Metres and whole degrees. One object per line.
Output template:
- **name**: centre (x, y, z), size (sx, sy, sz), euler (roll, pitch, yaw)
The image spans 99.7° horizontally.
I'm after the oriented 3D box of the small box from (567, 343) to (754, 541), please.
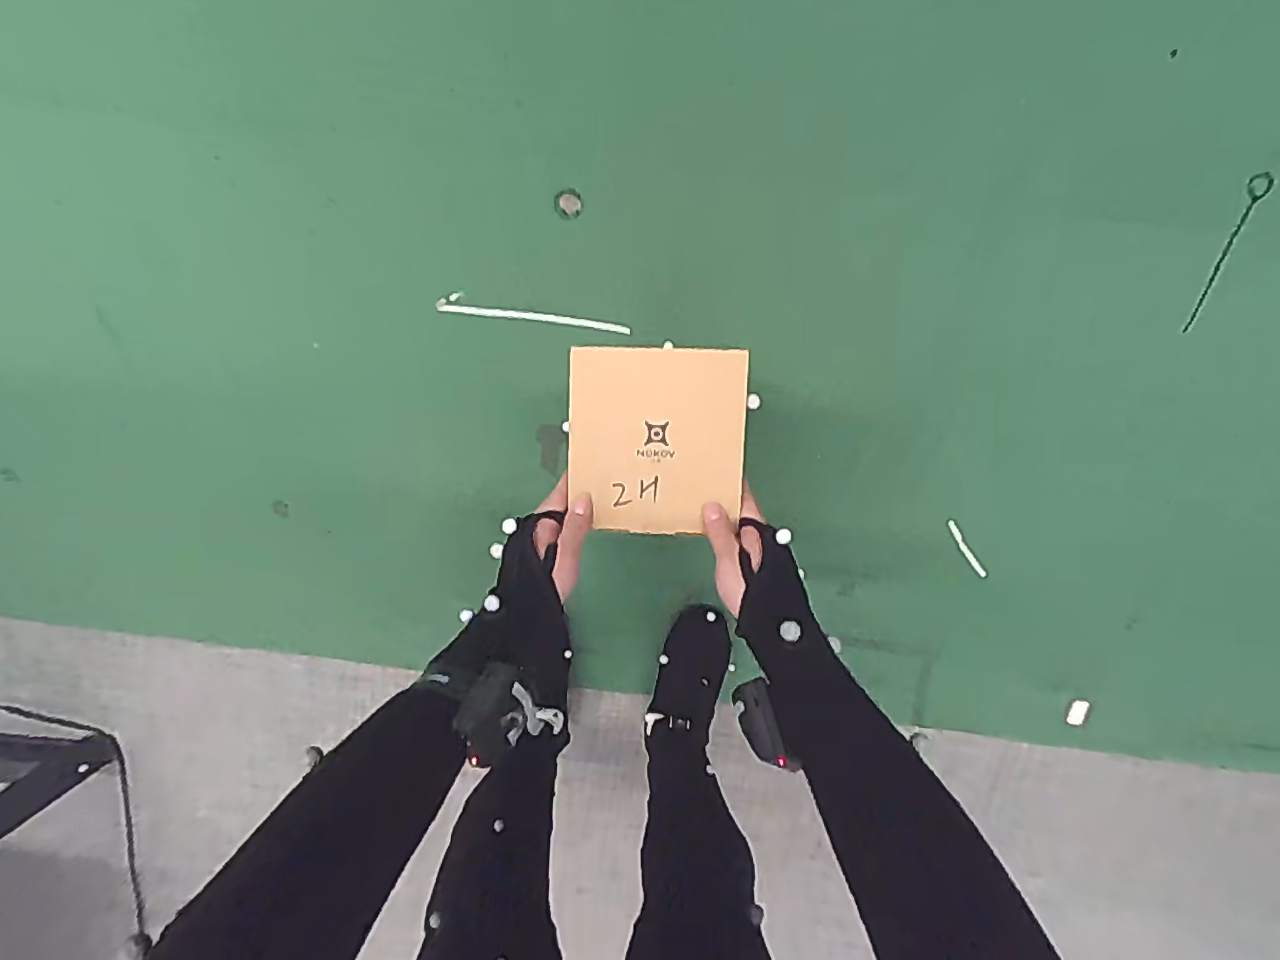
- **small box**: centre (0.021, -0.043, 0.575), size (0.168, 0.176, 0.179), euler (3, 98, 4)
